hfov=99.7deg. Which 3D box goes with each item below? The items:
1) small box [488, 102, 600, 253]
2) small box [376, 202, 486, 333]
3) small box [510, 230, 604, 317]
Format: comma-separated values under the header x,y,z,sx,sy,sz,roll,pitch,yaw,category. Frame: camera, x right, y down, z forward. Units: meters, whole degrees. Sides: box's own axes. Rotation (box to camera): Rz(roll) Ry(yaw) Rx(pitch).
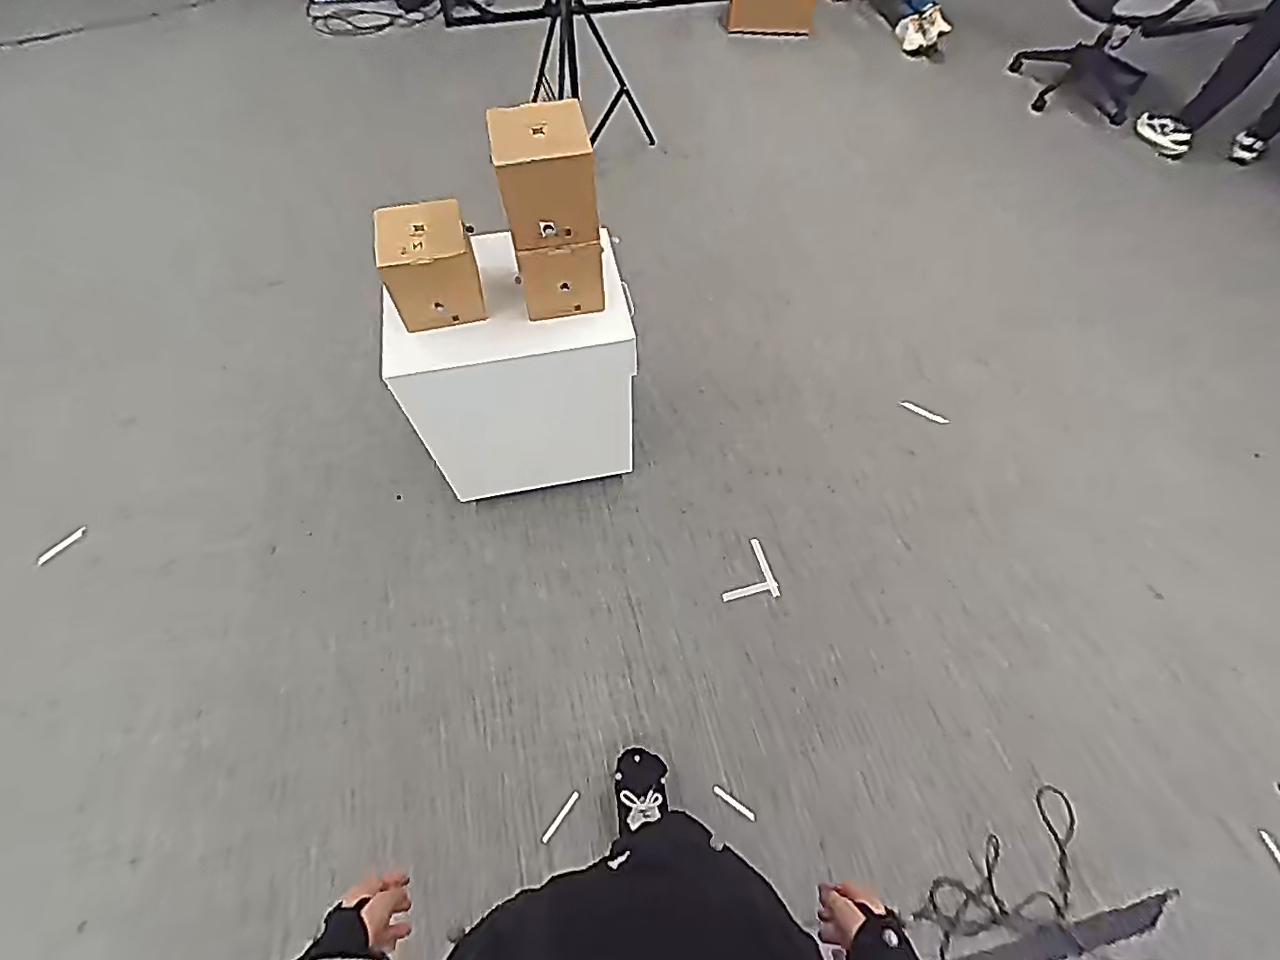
x,y,z,sx,sy,sz,roll,pitch,yaw,category
-0.172,-0.548,0.988,0.168,0.176,0.179,-12,62,-5,small box
-0.424,-0.432,1.107,0.168,0.176,0.179,-13,62,-8,small box
-0.171,-0.459,1.126,0.168,0.176,0.179,-10,63,-5,small box
